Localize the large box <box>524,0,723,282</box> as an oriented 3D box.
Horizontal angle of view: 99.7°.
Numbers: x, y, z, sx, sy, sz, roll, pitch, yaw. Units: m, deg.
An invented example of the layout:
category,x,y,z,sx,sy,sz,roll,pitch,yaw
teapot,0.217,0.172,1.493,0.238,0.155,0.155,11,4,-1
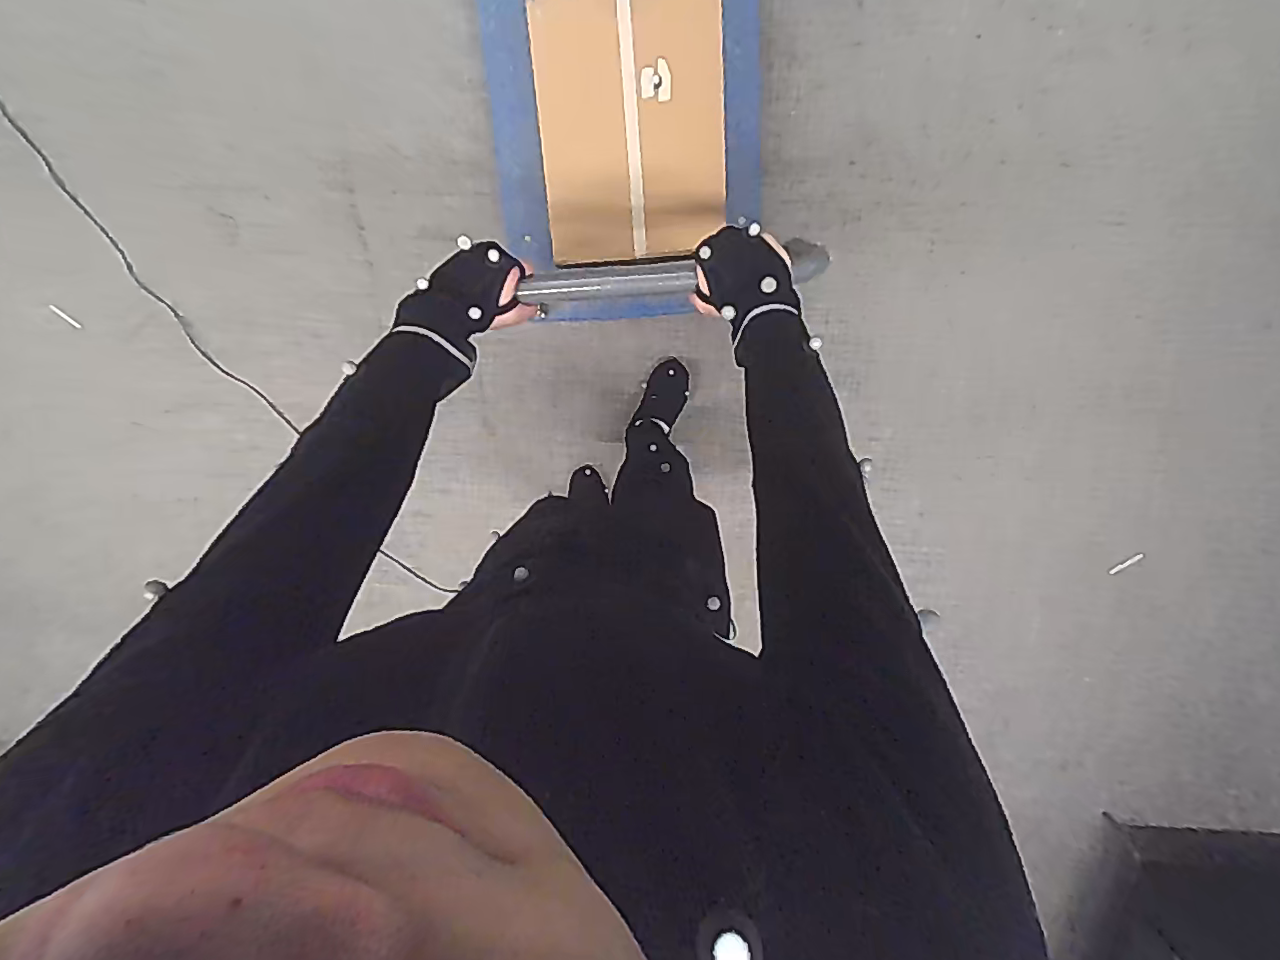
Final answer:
category,x,y,z,sx,sy,sz,roll,pitch,yaw
large box,-0.015,-0.625,1.067,0.320,0.320,0.408,-4,106,2
